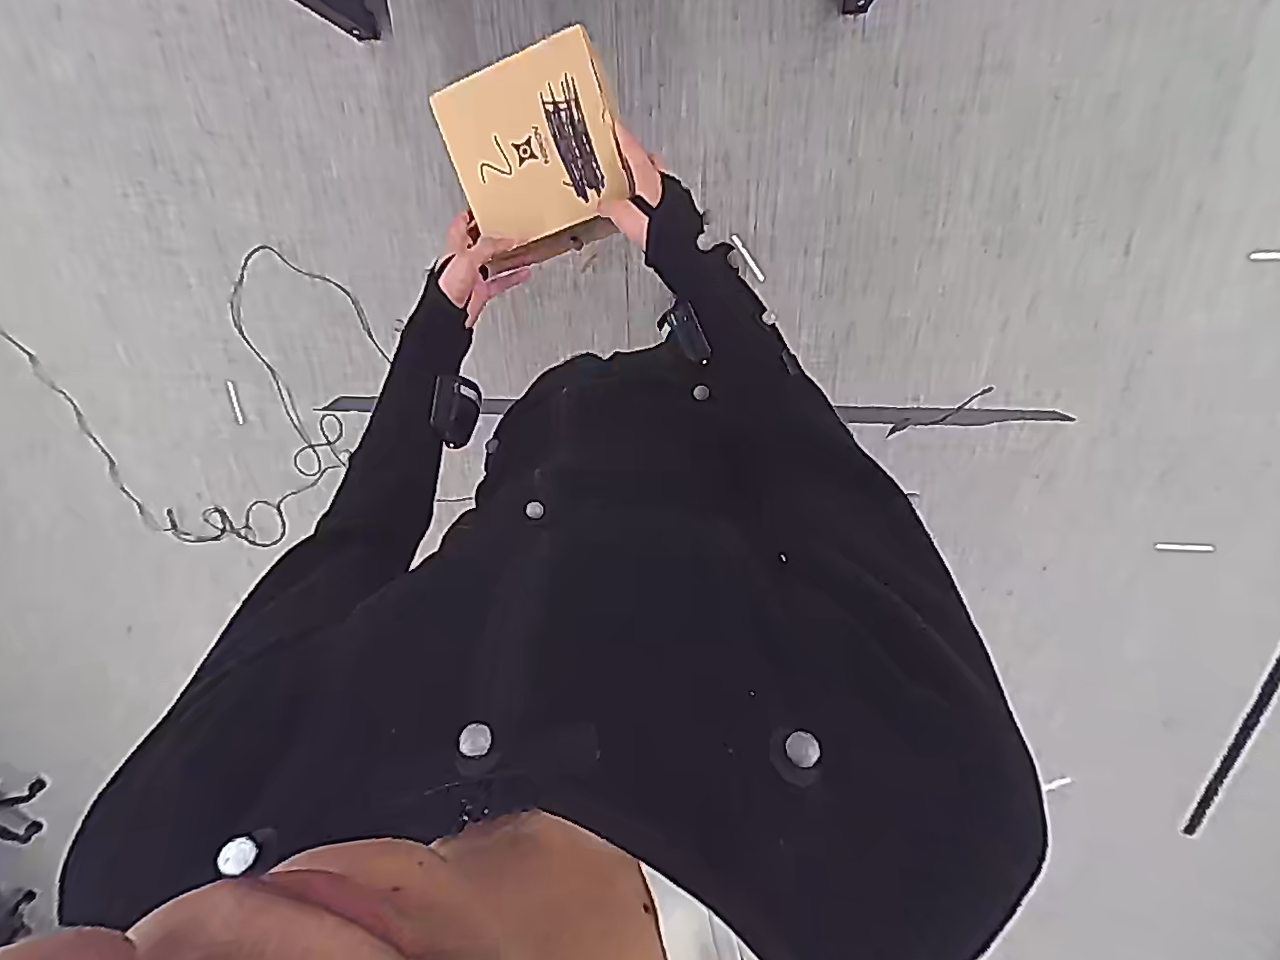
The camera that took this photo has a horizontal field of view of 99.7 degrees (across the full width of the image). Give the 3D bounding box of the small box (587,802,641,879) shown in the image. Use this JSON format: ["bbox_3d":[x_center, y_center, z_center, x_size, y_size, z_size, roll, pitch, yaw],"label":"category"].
[{"bbox_3d":[-0.094,1.326,1.999,0.179,0.176,0.168,3,114,5],"label":"small box"}]
